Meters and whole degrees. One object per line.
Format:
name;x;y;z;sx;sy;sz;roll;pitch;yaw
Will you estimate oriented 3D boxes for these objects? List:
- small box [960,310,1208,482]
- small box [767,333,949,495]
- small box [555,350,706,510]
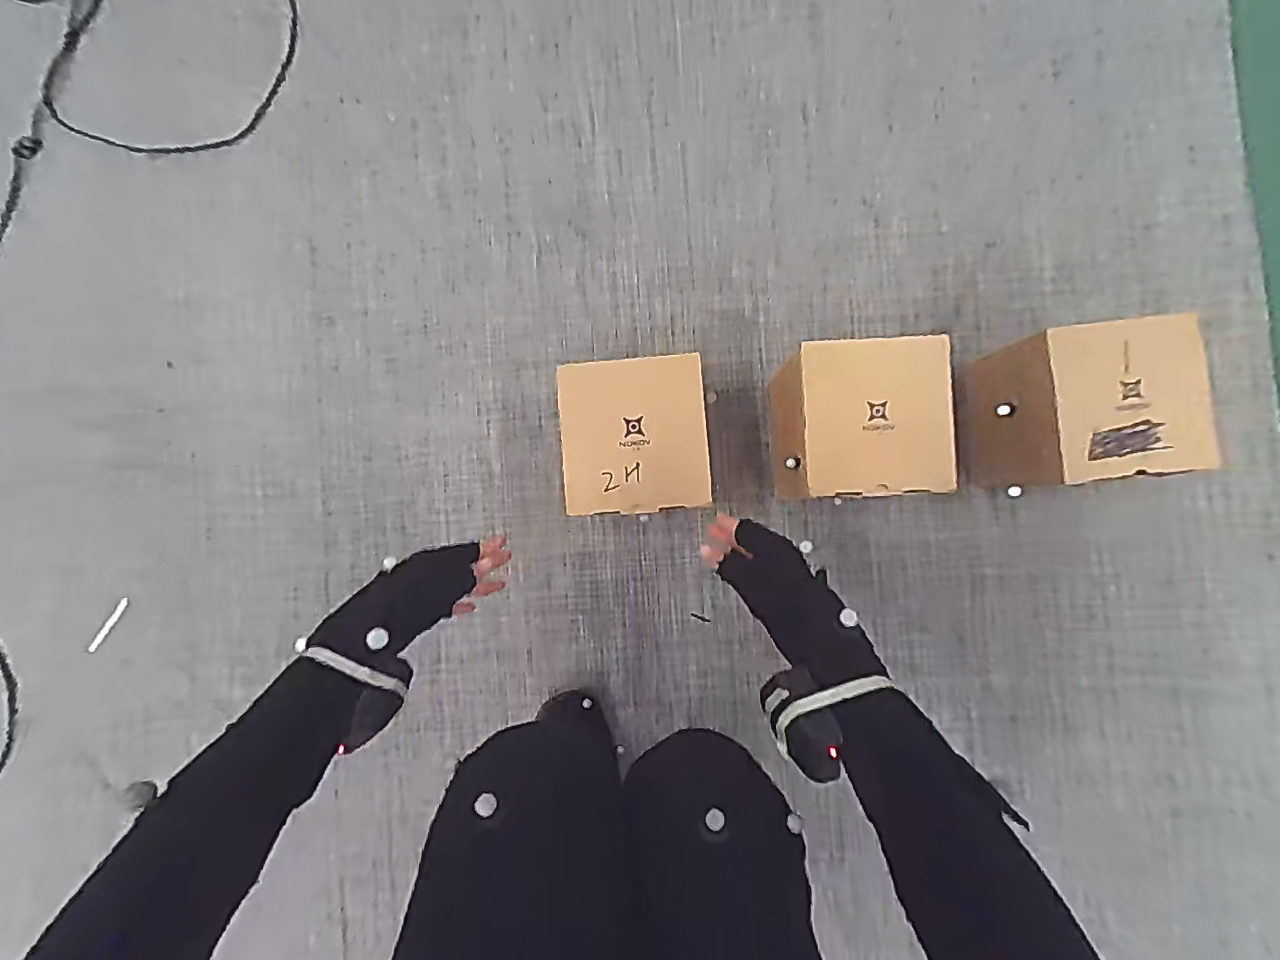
small box;0.527;-0.090;0.669;0.168;0.176;0.179;-6;87;3
small box;0.260;-0.072;0.681;0.168;0.176;0.179;-2;88;2
small box;-0.007;-0.053;0.690;0.168;0.176;0.179;-4;88;4
